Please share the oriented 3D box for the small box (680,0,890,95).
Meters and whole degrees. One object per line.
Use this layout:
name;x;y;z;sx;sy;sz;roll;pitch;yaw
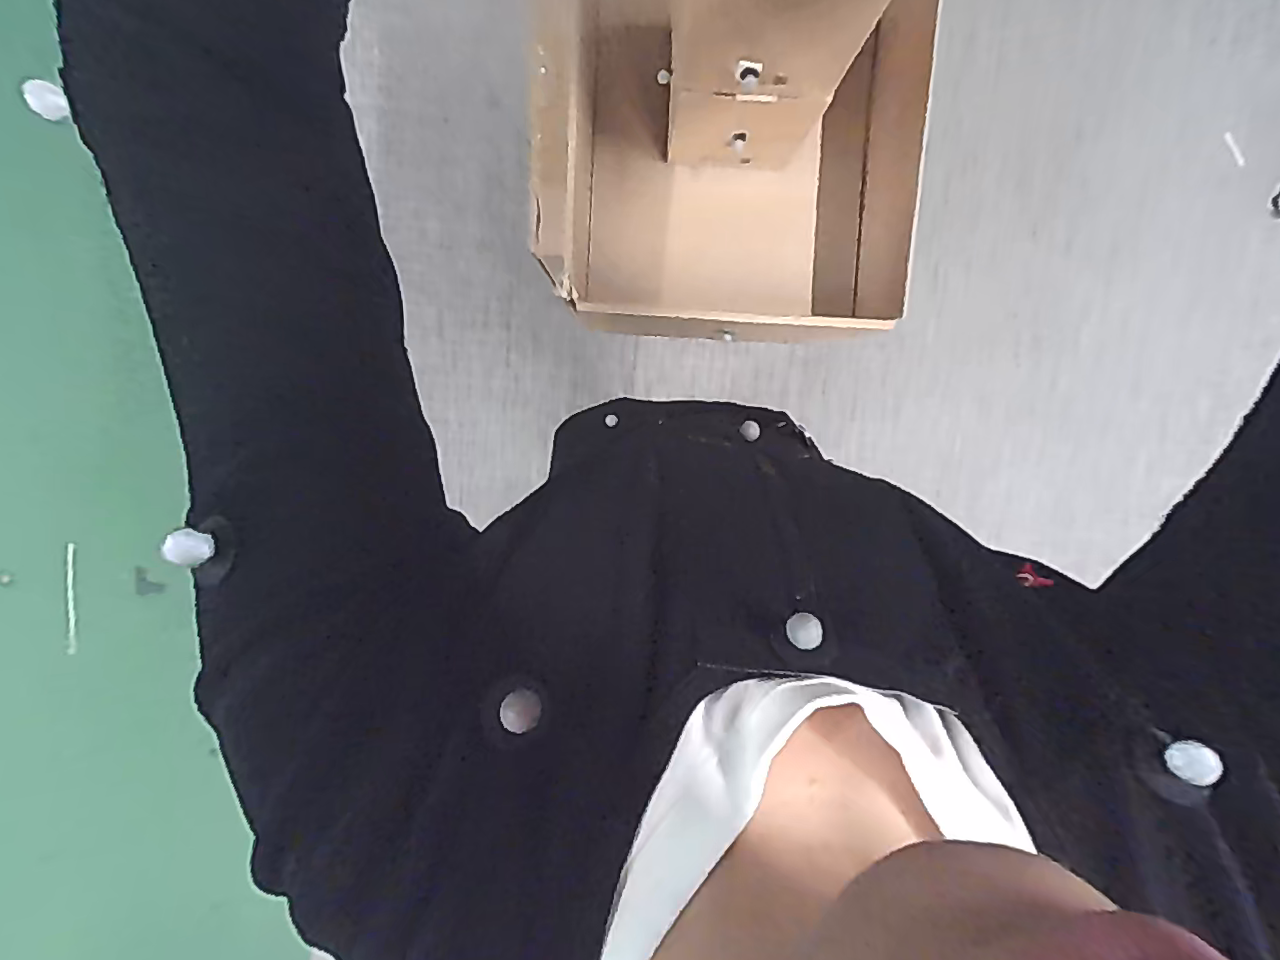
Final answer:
small box;0.125;-0.483;0.475;0.168;0.176;0.179;1;98;-1
